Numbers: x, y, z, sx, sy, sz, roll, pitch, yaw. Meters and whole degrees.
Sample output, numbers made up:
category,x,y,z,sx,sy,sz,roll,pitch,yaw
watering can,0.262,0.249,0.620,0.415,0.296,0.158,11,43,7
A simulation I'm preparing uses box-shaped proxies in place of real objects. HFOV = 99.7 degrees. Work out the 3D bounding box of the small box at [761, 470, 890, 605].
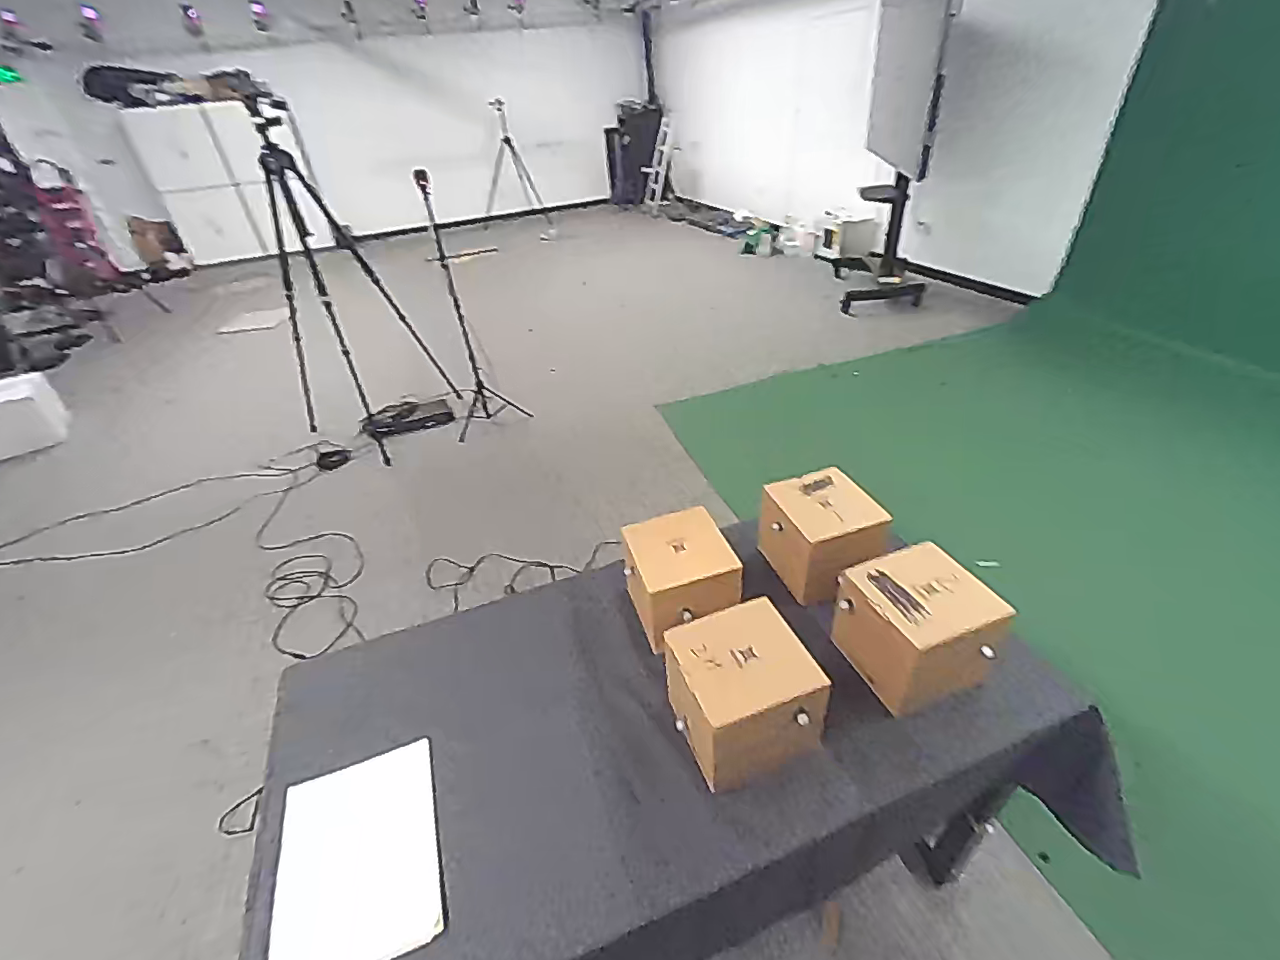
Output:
category,x,y,z,sx,sy,sz,roll,pitch,yaw
small box,0.347,0.110,1.050,0.168,0.176,0.179,-14,37,-11

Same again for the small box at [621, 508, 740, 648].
category,x,y,z,sx,sy,sz,roll,pitch,yaw
small box,0.073,0.183,0.990,0.168,0.176,0.179,-14,36,-11

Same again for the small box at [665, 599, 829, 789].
category,x,y,z,sx,sy,sz,roll,pitch,yaw
small box,0.148,0.312,0.795,0.179,0.176,0.168,-16,36,-13
